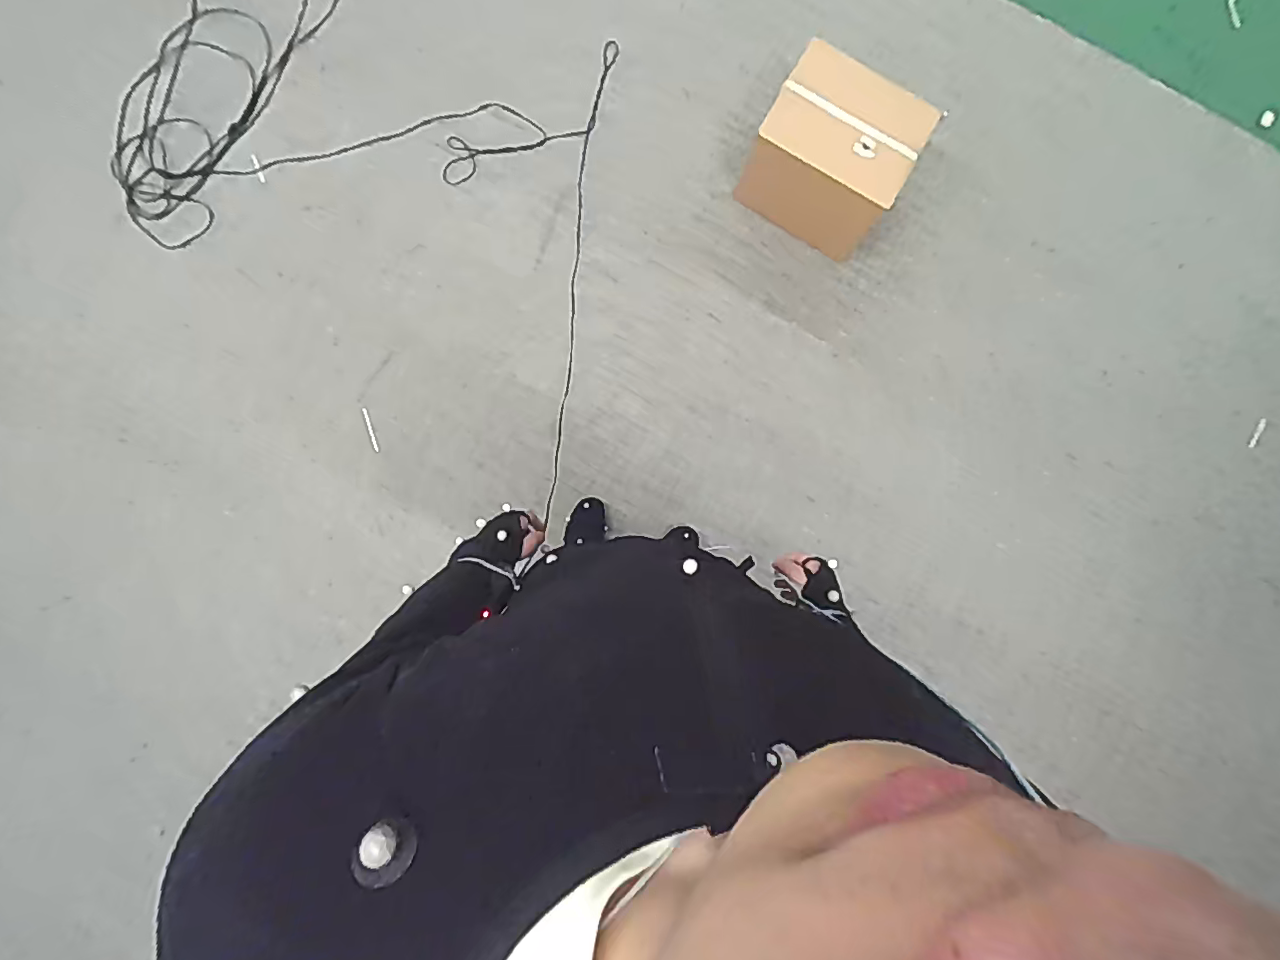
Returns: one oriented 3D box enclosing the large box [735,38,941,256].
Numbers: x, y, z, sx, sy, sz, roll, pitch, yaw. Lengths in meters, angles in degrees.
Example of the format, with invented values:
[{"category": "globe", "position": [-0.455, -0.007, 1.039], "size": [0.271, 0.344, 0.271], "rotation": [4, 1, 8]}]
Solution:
[{"category": "large box", "position": [0.546, -0.936, 1.566], "size": [0.408, 0.320, 0.320], "rotation": [30, 87, -1]}]
